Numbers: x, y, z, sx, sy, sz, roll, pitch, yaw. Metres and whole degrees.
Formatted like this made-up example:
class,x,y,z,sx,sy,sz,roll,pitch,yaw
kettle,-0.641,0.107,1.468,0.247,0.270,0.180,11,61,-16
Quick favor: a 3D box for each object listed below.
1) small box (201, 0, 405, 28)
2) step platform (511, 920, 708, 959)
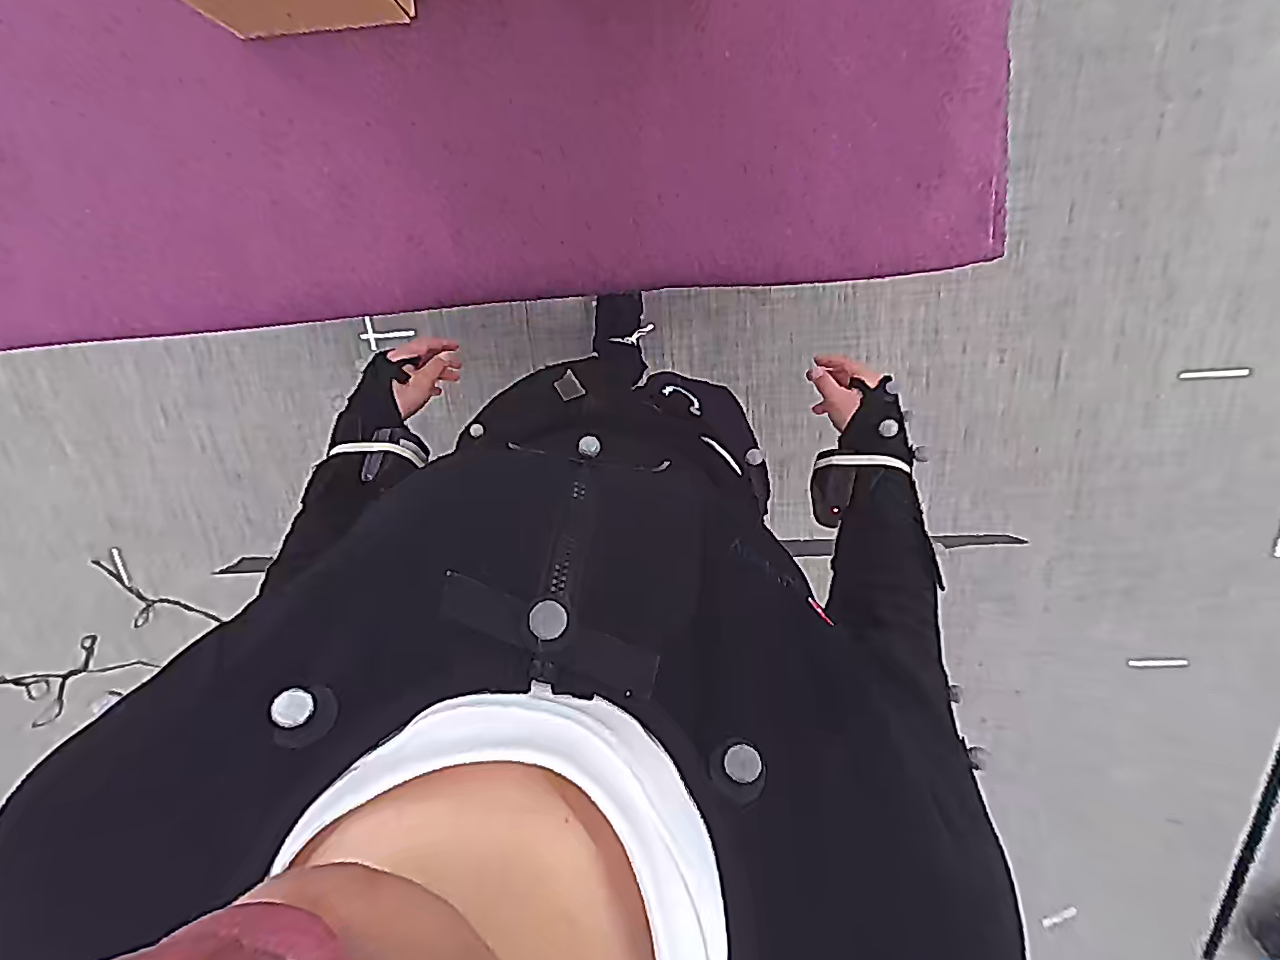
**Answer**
class,x,y,z,sx,sy,sz,roll,pitch,yaw
small box,-0.301,-0.477,0.403,0.179,0.176,0.168,-3,108,3
step platform,-0.104,1.708,1.851,0.684,0.204,0.286,-3,108,2
